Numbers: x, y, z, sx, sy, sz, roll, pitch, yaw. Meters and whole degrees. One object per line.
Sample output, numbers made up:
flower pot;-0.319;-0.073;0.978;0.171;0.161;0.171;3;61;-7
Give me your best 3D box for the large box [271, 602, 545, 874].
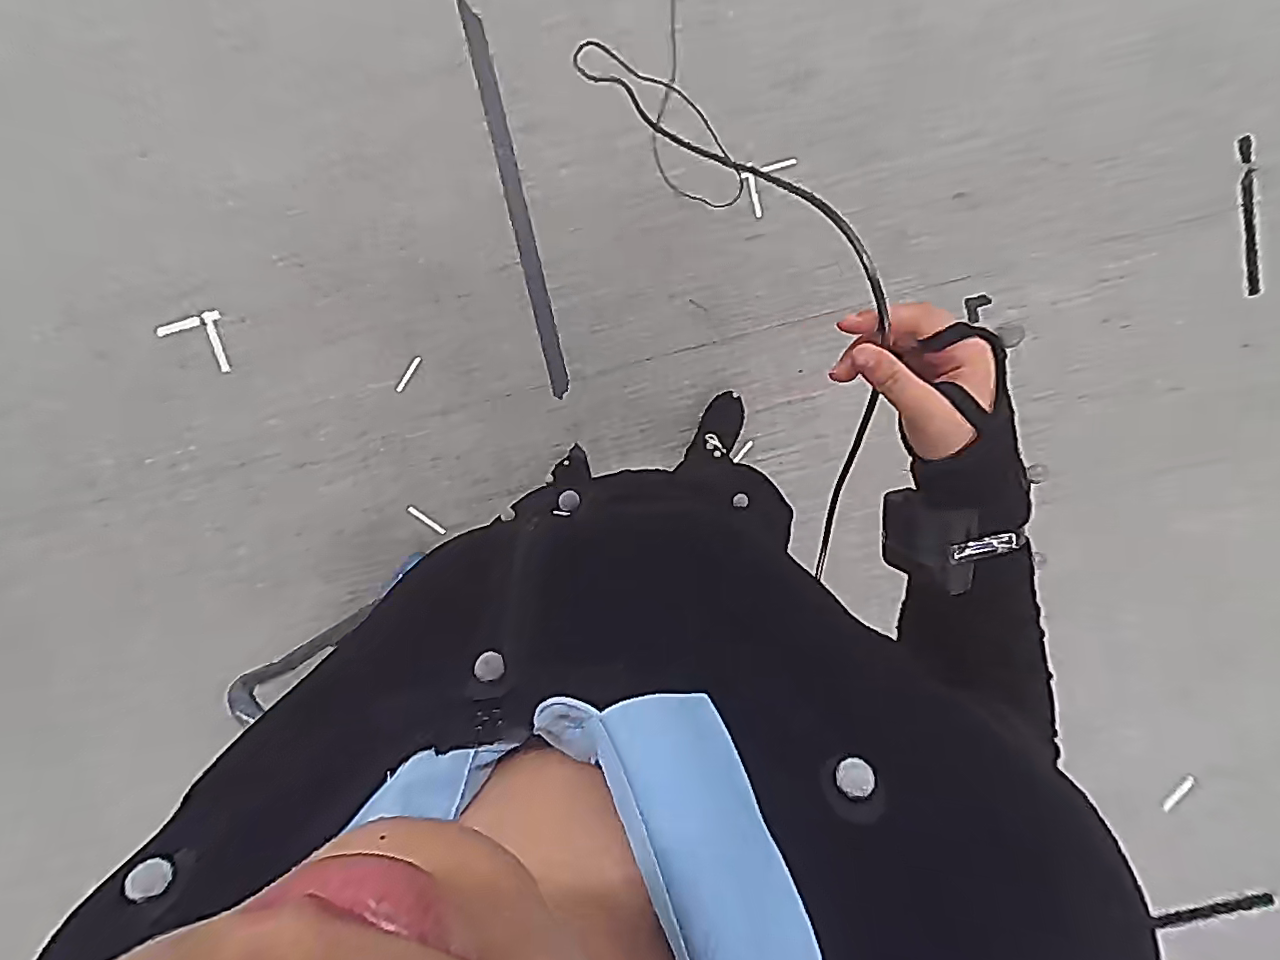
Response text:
large box;-0.483;0.549;1.216;0.408;0.320;0.320;38;94;-4
